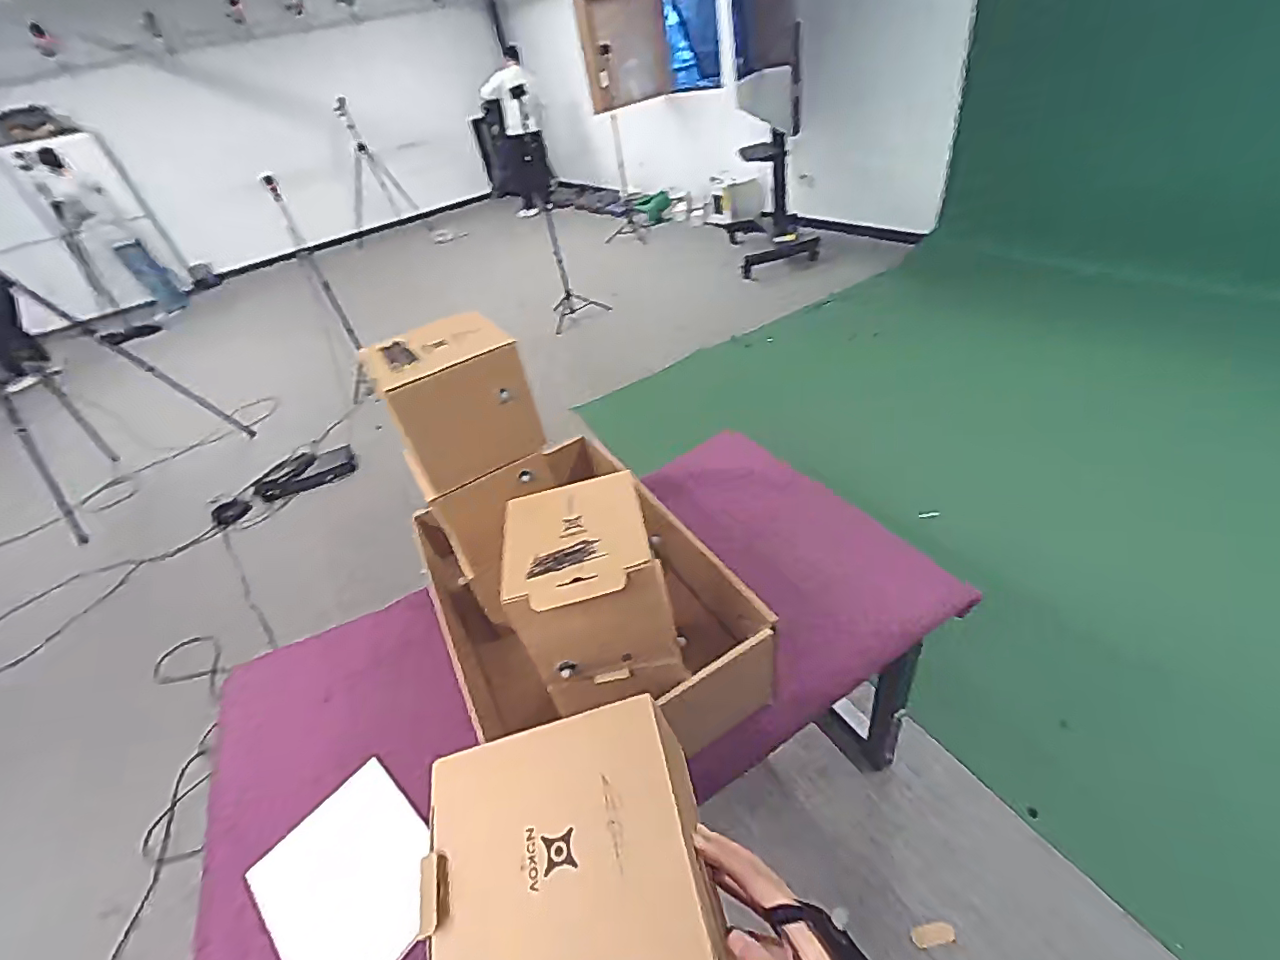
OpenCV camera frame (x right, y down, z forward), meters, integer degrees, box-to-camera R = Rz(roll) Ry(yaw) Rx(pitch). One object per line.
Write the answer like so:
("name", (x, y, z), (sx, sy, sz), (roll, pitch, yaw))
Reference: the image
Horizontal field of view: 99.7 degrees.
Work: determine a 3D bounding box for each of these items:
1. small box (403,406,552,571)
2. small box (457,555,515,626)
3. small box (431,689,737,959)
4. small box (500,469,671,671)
("small box", (-0.247, 0.013, 0.870), (0.179, 0.176, 0.168), (-28, 42, -19))
("small box", (-0.227, 0.137, 0.973), (0.168, 0.176, 0.179), (-26, 42, -17))
("small box", (-0.037, 0.290, 0.415), (0.179, 0.176, 0.168), (-17, 49, 1))
("small box", (-0.065, 0.117, 0.681), (0.168, 0.176, 0.179), (-14, 37, 0))
